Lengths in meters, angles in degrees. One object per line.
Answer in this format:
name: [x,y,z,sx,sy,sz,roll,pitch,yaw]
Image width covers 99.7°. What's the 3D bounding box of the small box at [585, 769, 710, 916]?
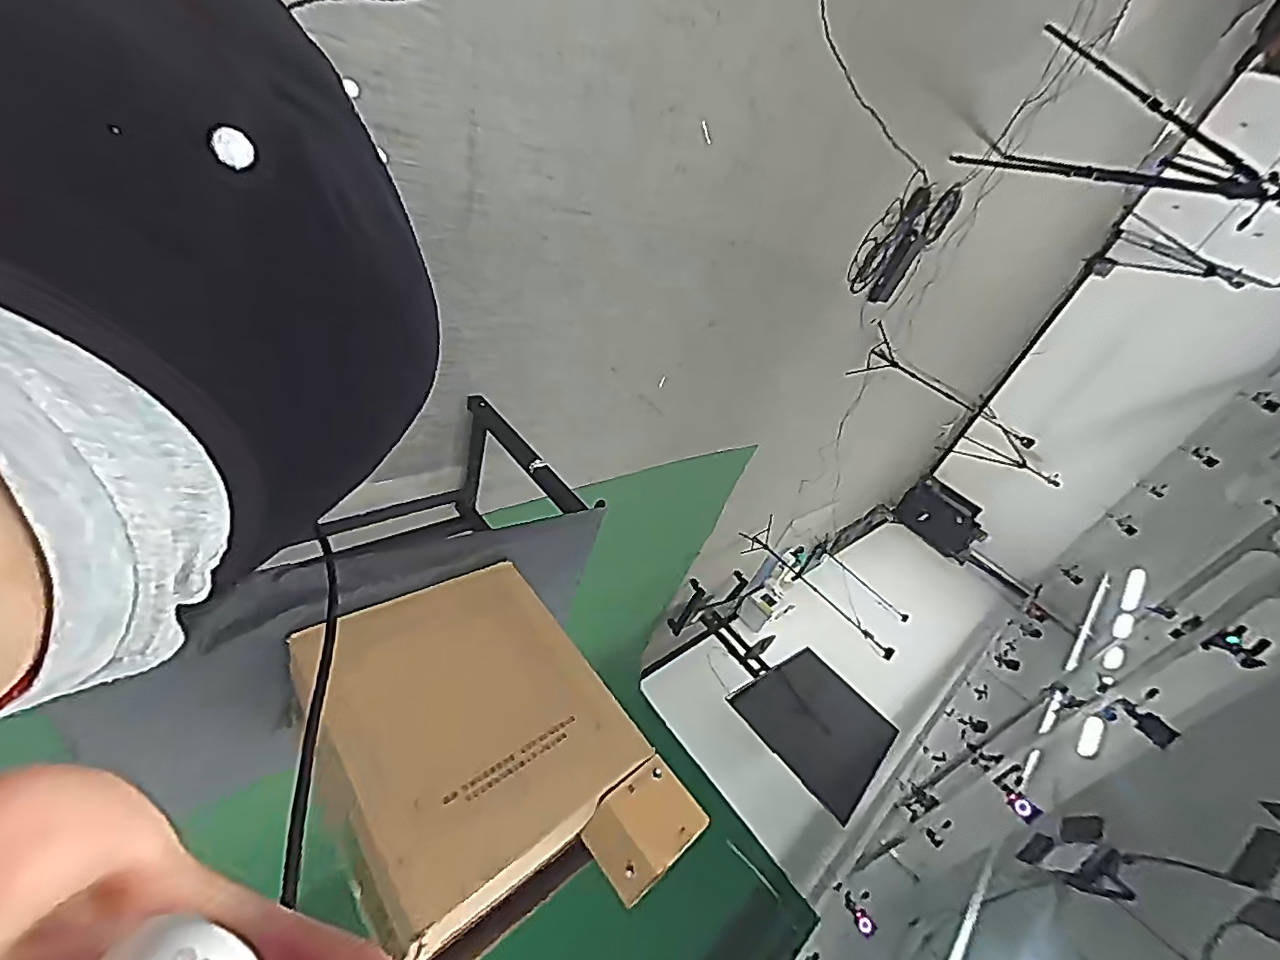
small box: [0.009,0.743,1.130,0.168,0.176,0.179,-15,139,-45]
